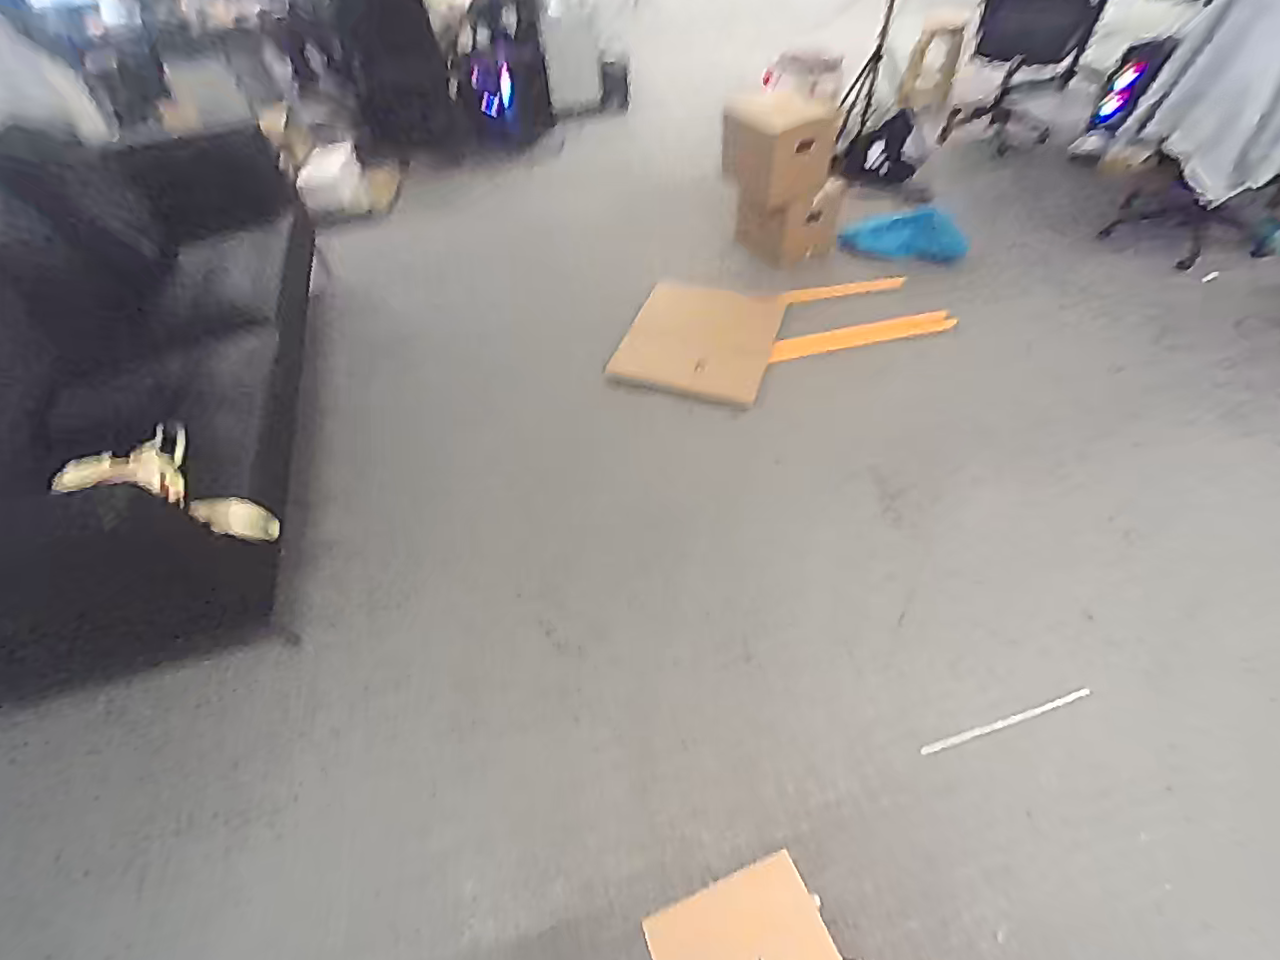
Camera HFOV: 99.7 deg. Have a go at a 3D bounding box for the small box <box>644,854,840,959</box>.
[{"bbox_3d":[0.111,0.518,0.533,0.168,0.176,0.179,-17,44,-12],"label":"small box"}]
